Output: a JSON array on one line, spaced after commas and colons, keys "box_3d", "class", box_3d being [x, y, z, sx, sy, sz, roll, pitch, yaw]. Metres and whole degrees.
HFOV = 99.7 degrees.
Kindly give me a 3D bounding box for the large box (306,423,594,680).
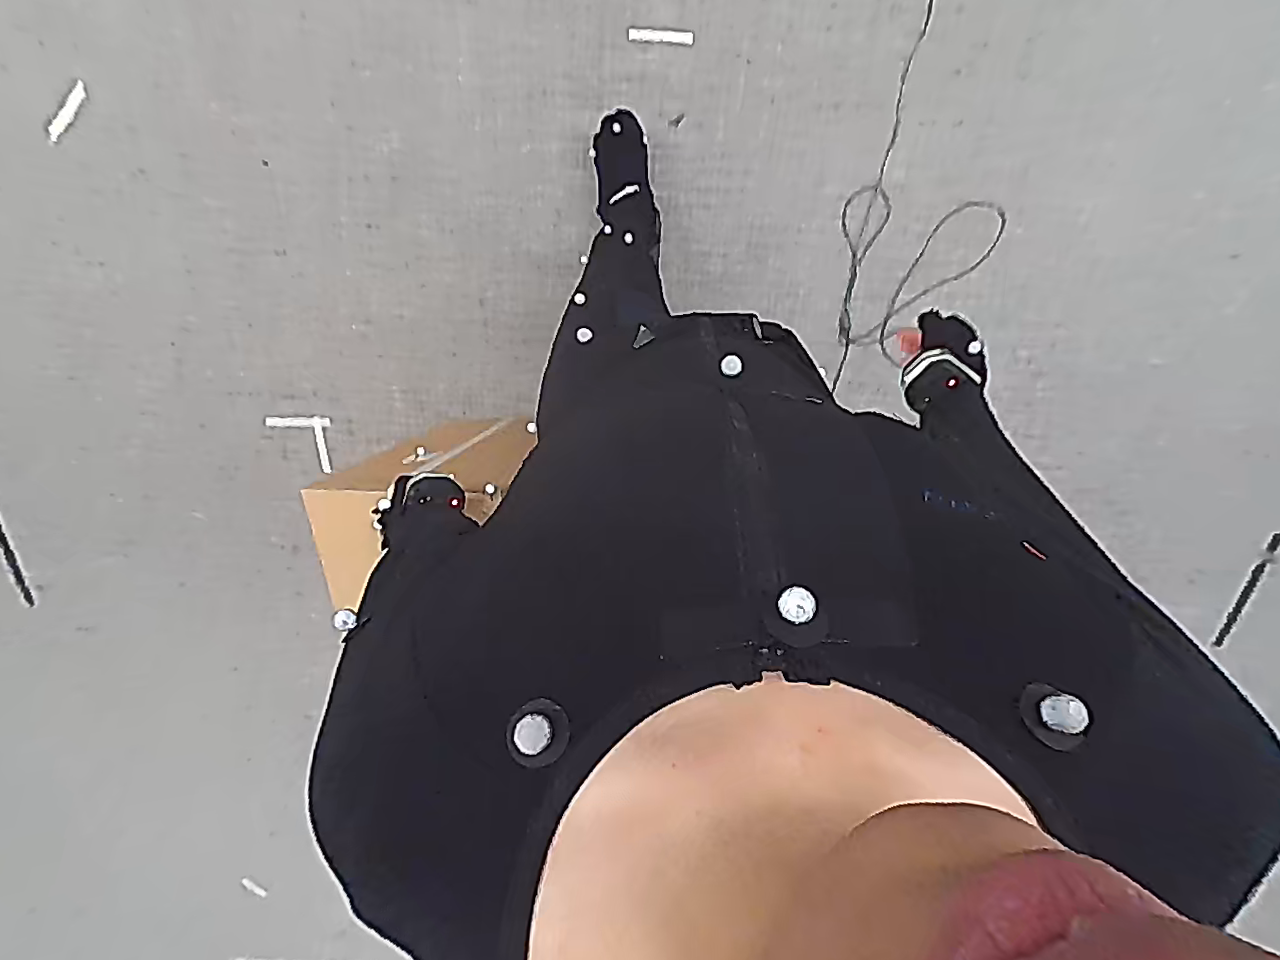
[{"box_3d": [-0.291, 0.095, 0.979, 0.320, 0.408, 0.320, 0, 109, 13], "class": "large box"}]
